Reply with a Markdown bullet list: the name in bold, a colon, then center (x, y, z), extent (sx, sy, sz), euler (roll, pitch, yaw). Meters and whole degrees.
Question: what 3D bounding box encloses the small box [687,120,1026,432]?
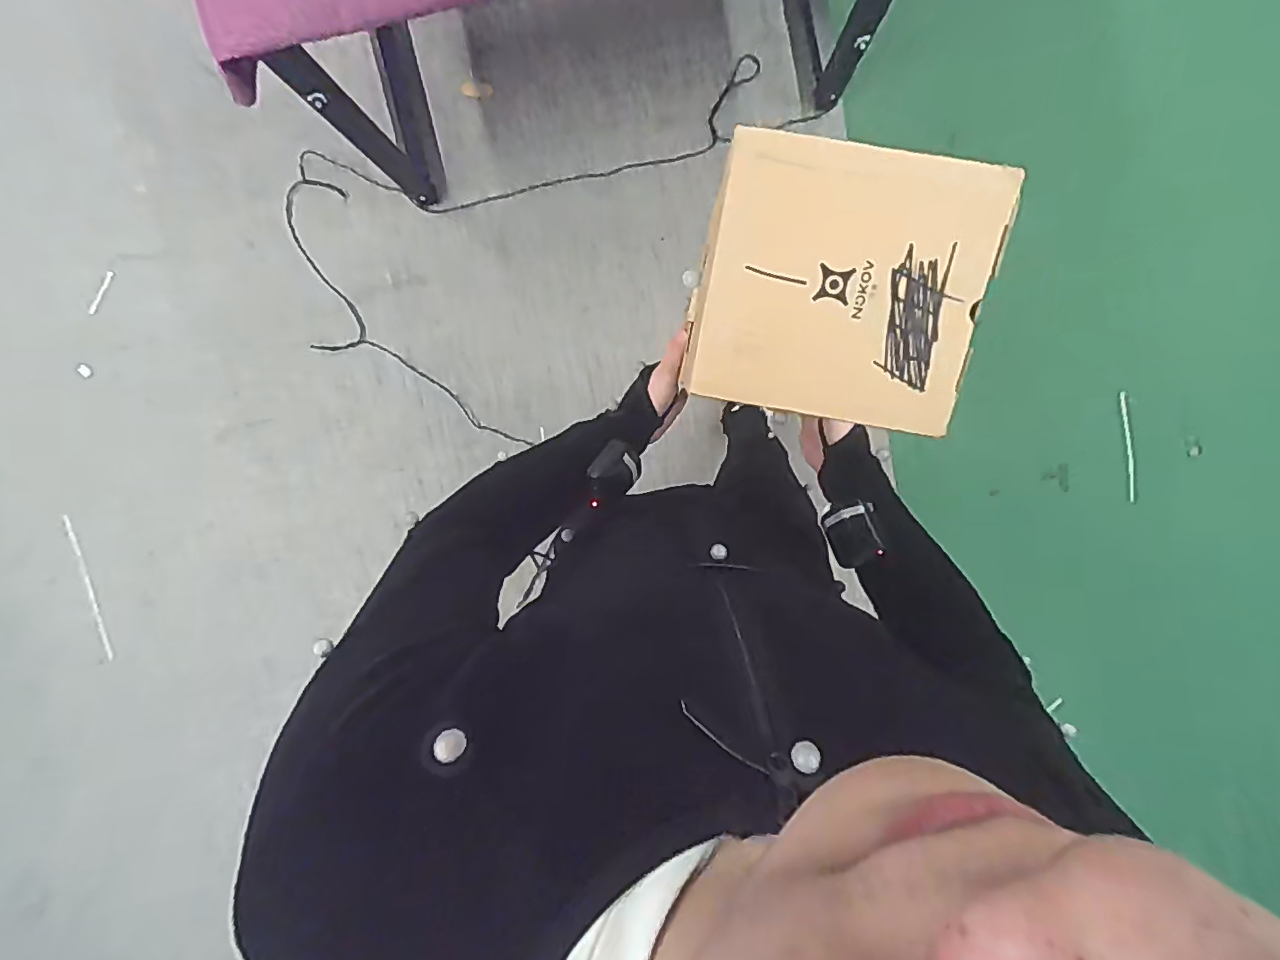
- **small box**: center (0.137, -0.143, 0.420), extent (0.179, 0.176, 0.168), euler (10, 103, 1)
